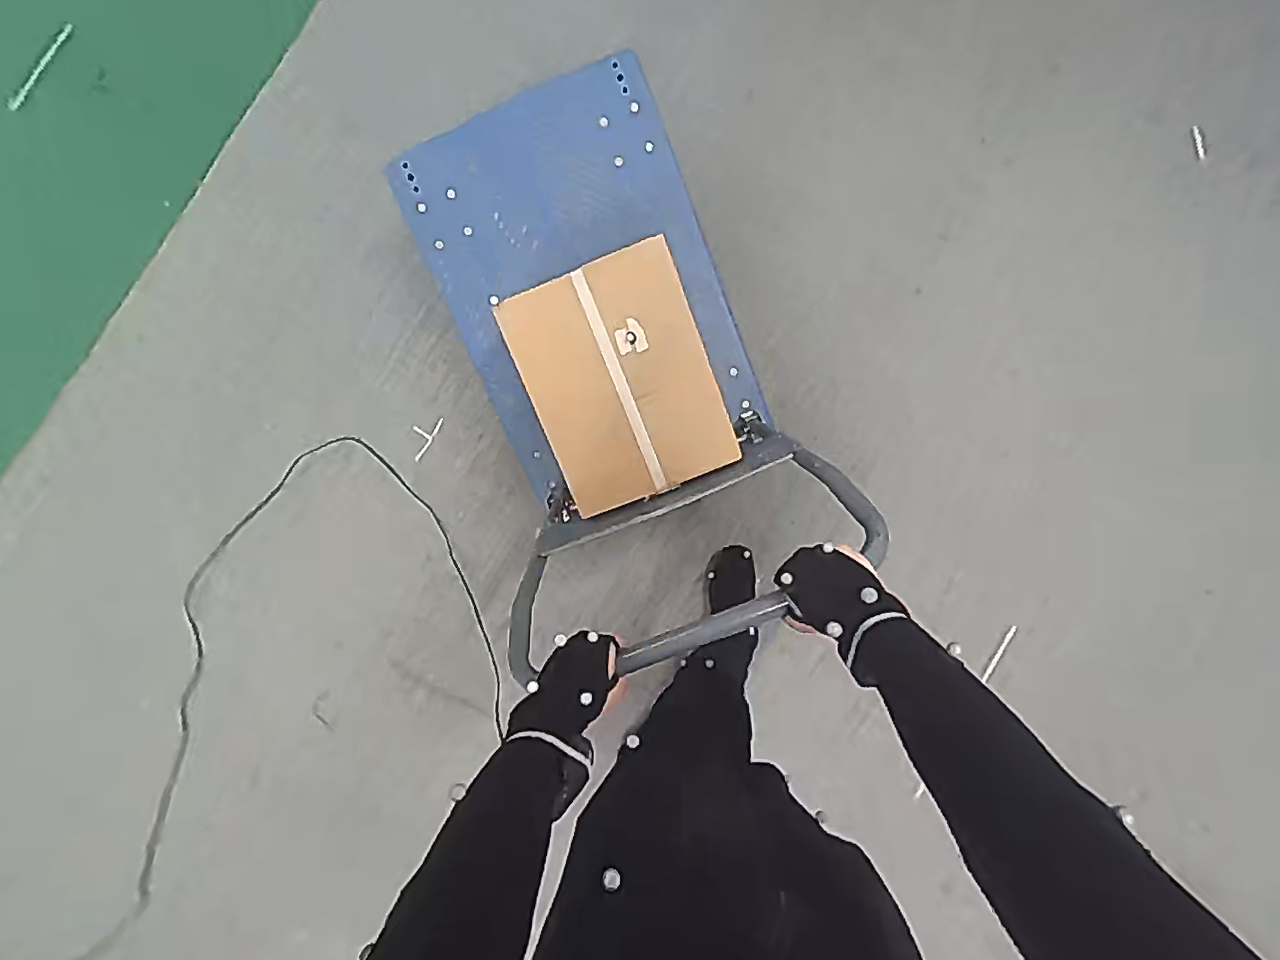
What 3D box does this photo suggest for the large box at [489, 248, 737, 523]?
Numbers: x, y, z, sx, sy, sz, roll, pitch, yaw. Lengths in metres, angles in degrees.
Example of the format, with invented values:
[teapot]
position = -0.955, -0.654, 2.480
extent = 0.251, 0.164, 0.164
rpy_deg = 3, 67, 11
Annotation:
[large box]
position = -0.038, -0.182, 1.087
extent = 0.320, 0.320, 0.408
rpy_deg = -22, 101, 4
